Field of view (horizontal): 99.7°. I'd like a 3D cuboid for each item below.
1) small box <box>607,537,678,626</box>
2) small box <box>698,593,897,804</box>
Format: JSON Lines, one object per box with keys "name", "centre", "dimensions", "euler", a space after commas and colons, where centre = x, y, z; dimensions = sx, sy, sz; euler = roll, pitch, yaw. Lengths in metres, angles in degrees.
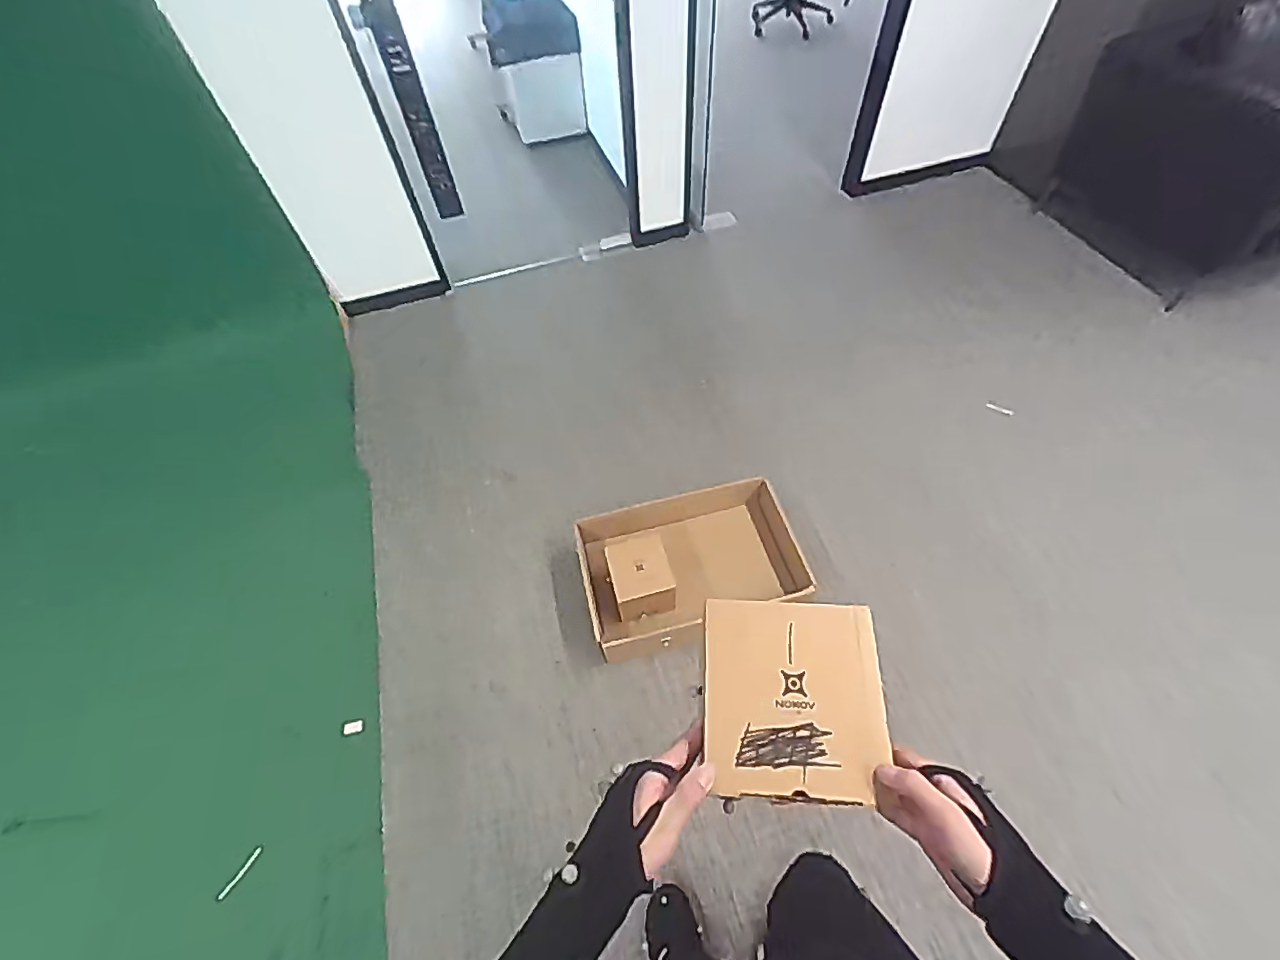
{"name": "small box", "centre": [0.006, 0.293, 1.554], "dimensions": [0.168, 0.176, 0.179], "euler": [-14, 55, -5]}
{"name": "small box", "centre": [0.147, 0.233, 0.568], "dimensions": [0.168, 0.176, 0.179], "euler": [2, 58, 5]}
